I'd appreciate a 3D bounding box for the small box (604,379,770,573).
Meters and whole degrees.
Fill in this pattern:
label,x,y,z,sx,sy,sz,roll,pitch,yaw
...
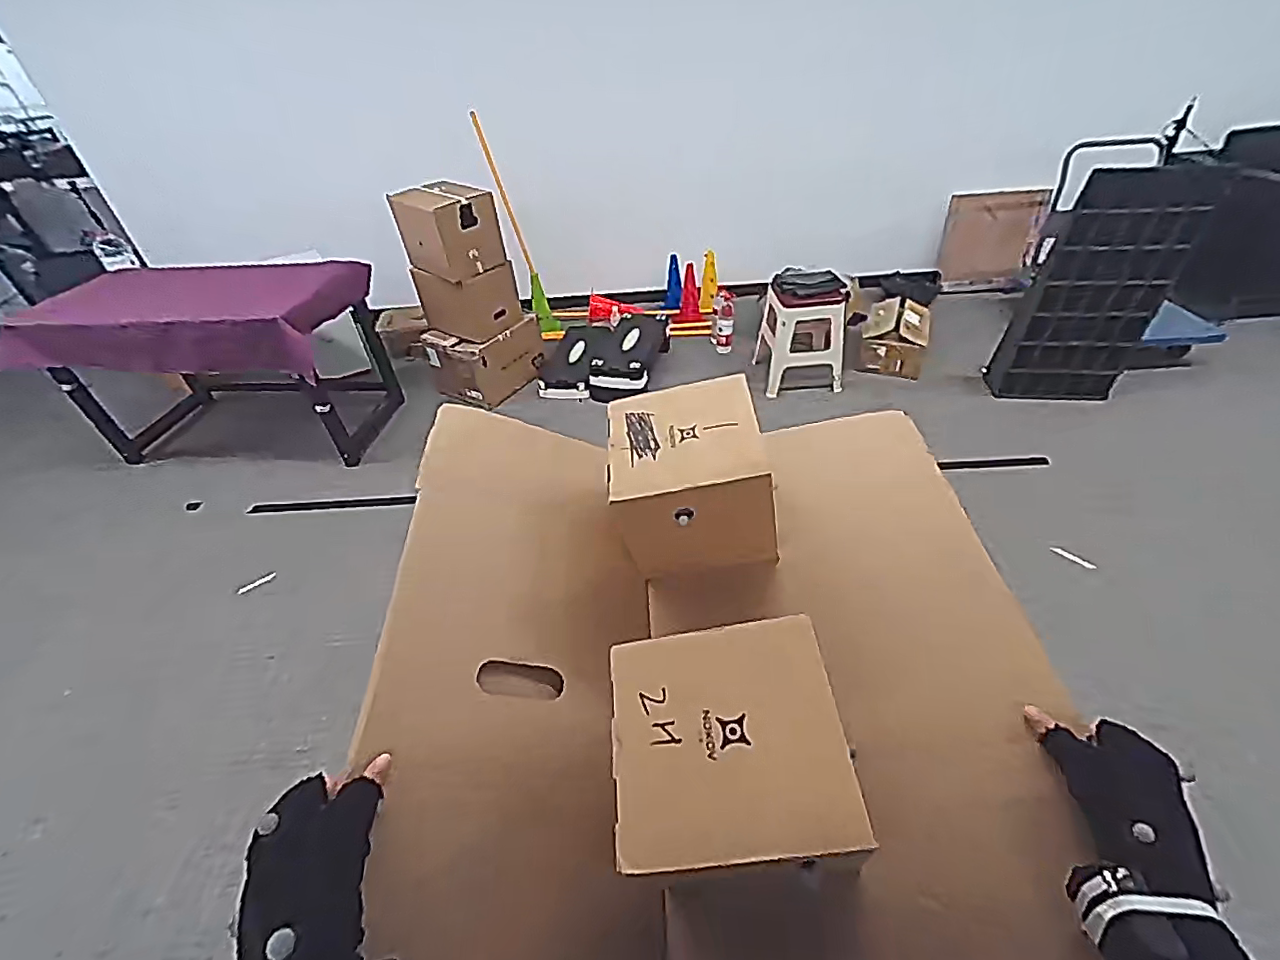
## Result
label,x,y,z,sx,sy,sz,roll,pitch,yaw
small box,0.060,0.002,0.691,0.179,0.176,0.168,-11,49,8

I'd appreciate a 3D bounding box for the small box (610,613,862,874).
label,x,y,z,sx,sy,sz,roll,pitch,yaw
small box,0.081,0.241,0.484,0.179,0.176,0.168,-12,49,9
